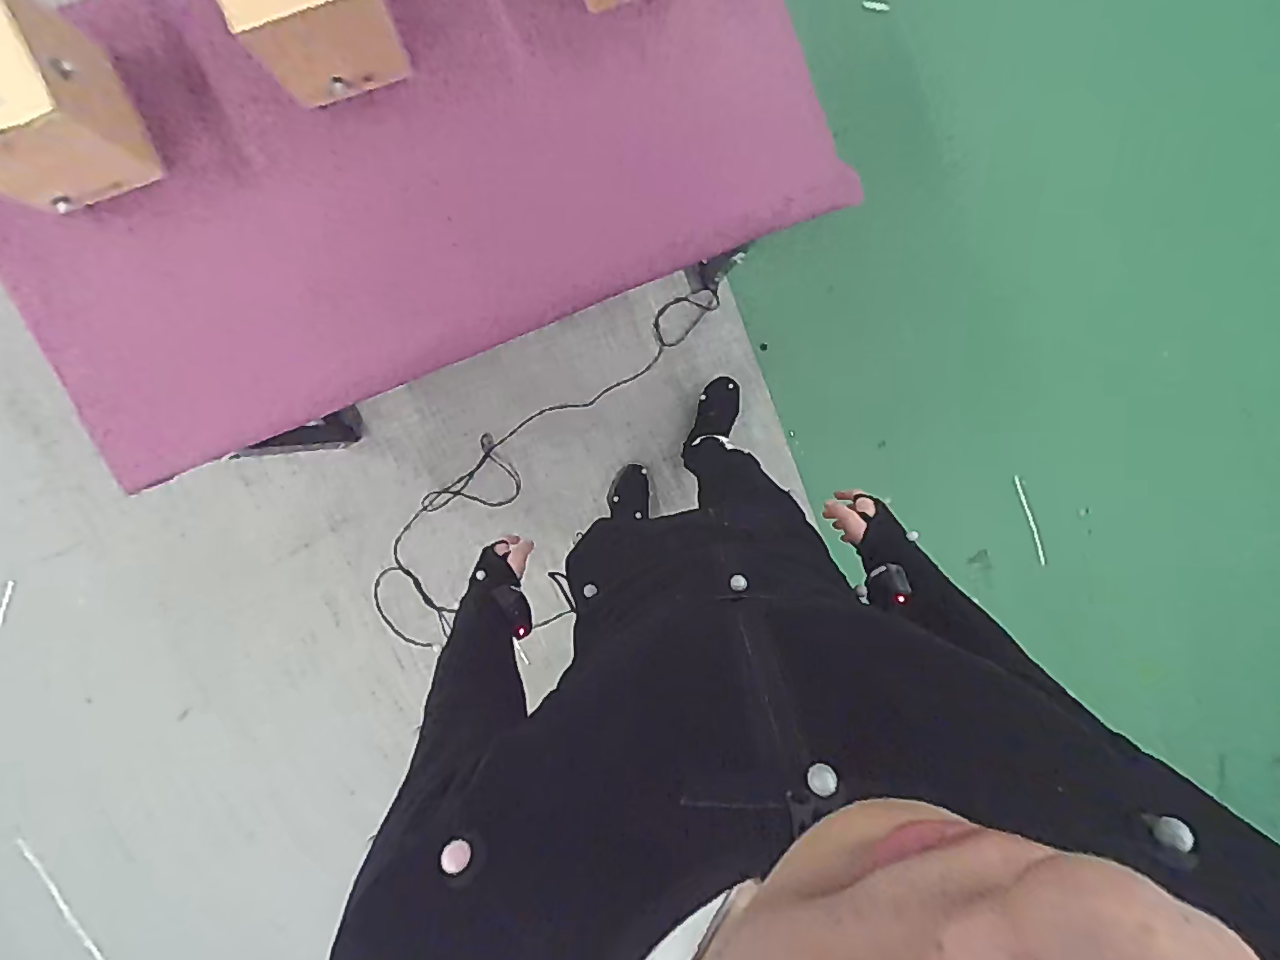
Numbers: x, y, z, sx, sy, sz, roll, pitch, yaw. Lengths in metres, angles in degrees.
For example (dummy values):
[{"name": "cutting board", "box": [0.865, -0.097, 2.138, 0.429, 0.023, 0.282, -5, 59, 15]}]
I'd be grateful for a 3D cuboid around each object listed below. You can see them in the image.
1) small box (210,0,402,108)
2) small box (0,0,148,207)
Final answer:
[{"name": "small box", "box": [-0.433, -0.623, 0.682, 0.168, 0.176, 0.179, -21, 100, -3]}, {"name": "small box", "box": [-0.774, -0.461, 0.660, 0.168, 0.176, 0.179, -23, 99, -4]}]
